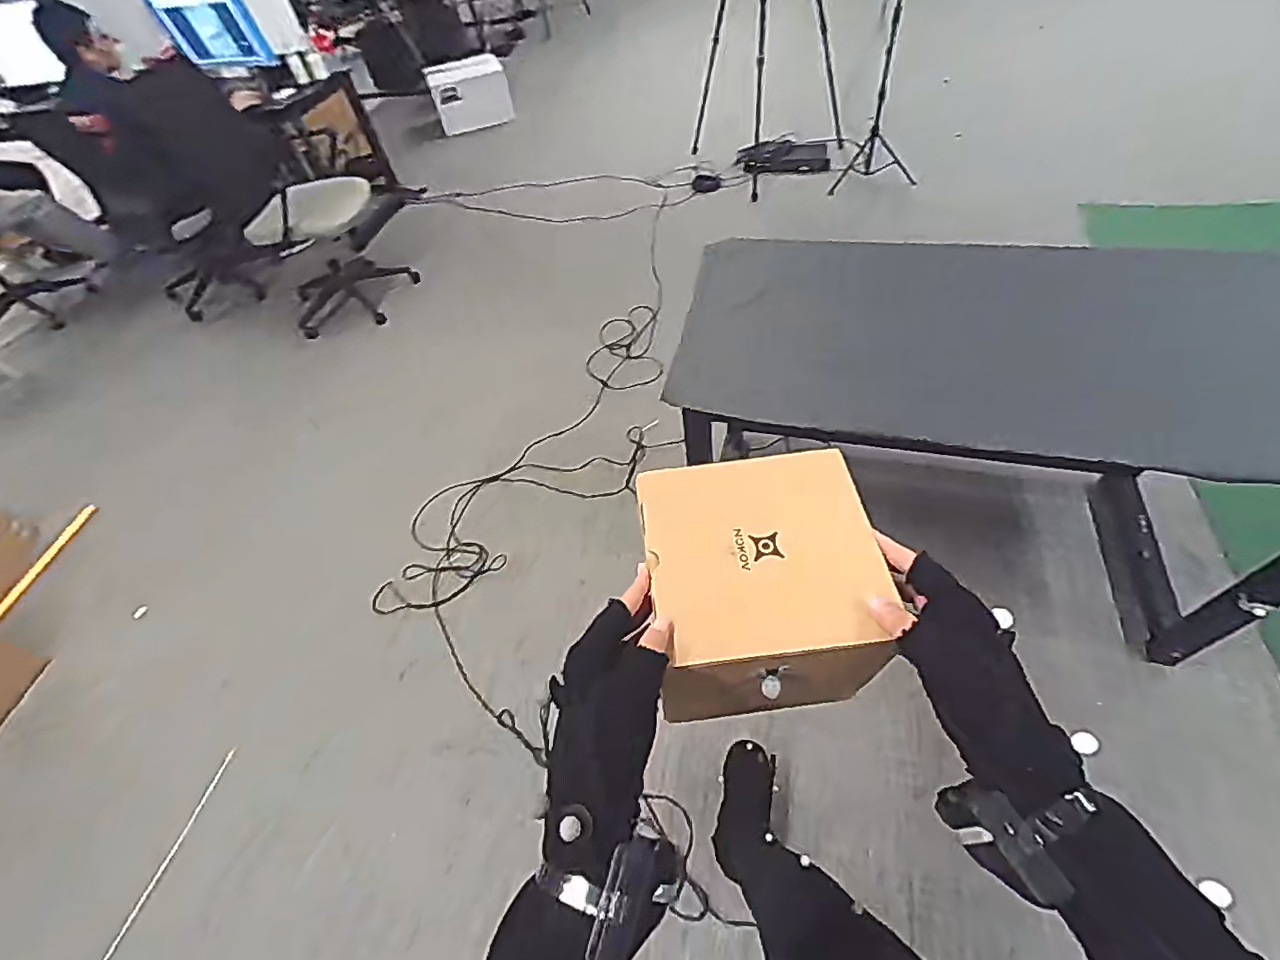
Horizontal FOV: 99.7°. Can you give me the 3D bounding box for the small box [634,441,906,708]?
[{"bbox_3d":[0.093,0.089,0.474,0.179,0.176,0.168,-8,55,1],"label":"small box"}]
